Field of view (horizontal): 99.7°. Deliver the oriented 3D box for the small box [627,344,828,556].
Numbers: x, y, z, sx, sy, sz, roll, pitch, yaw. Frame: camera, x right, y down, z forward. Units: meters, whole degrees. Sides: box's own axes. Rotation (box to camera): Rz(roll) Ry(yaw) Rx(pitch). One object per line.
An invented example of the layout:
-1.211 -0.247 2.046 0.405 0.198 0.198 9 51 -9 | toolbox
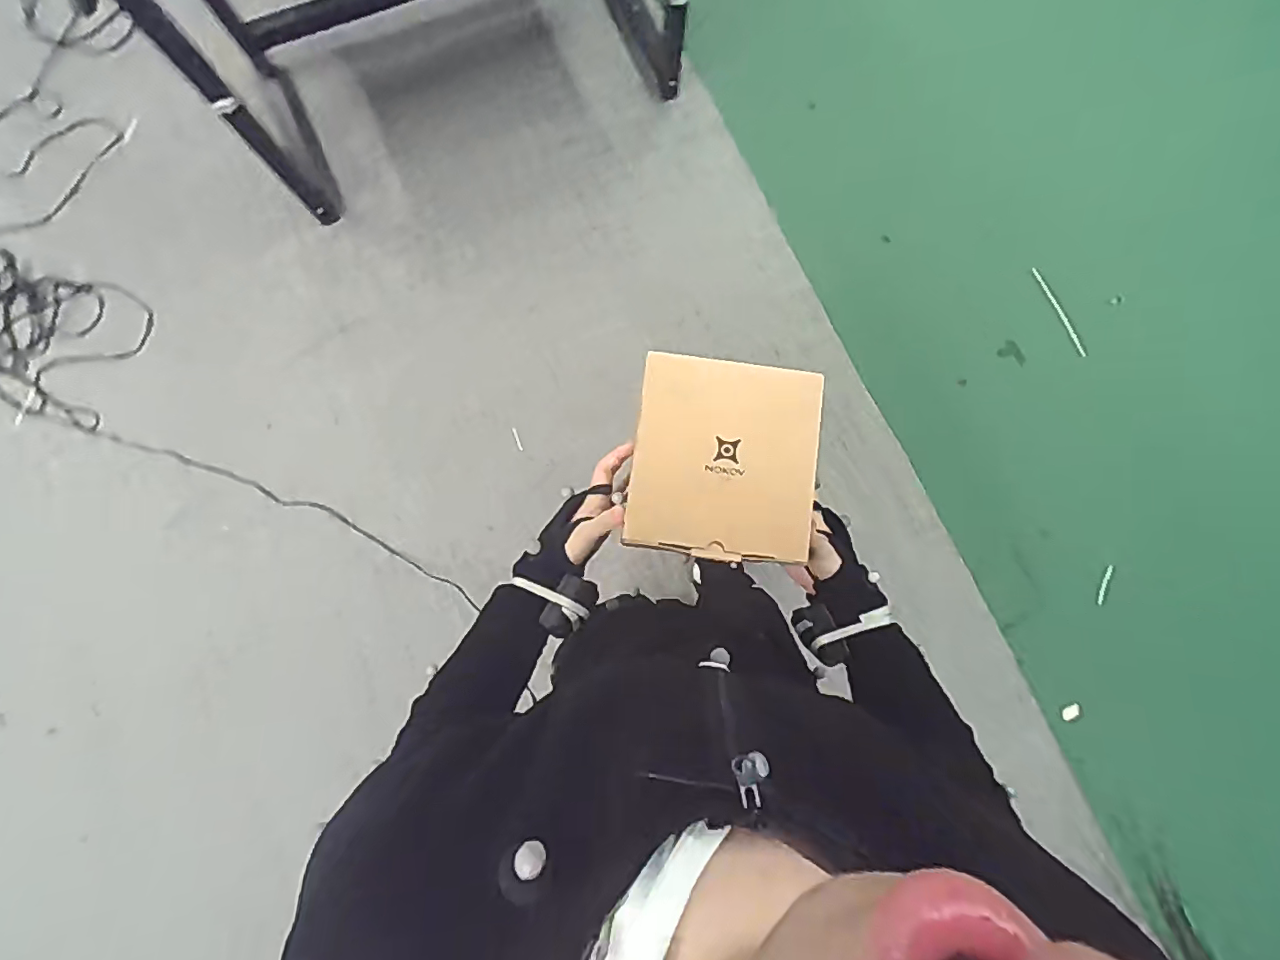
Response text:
0.077 -0.018 0.552 0.168 0.176 0.179 6 83 -1 | small box
